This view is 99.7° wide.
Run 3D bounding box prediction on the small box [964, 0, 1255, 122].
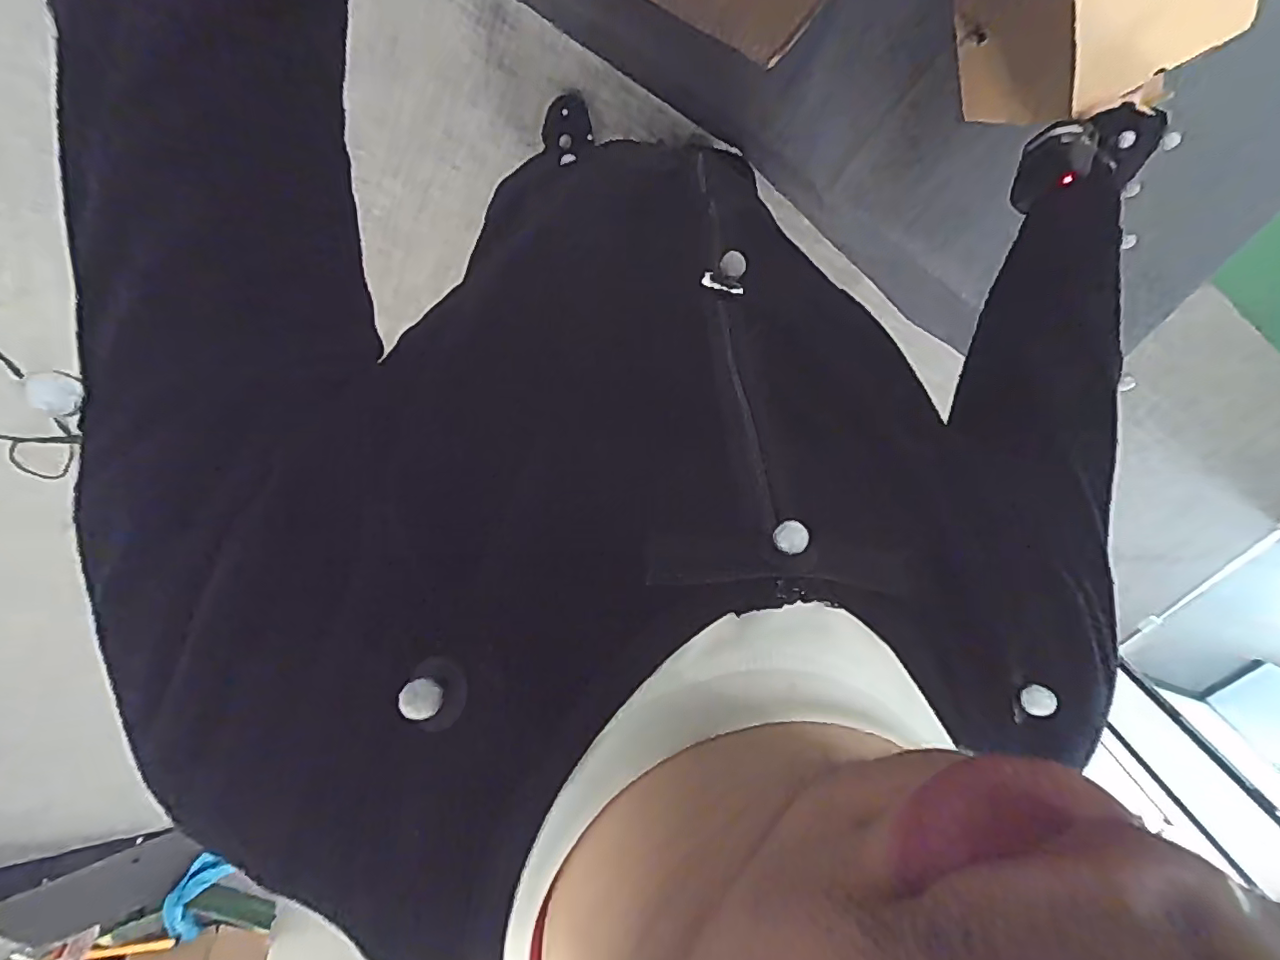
[{"bbox_3d":[0.444,-0.489,0.527,0.168,0.176,0.179,-24,126,11],"label":"small box"}]
